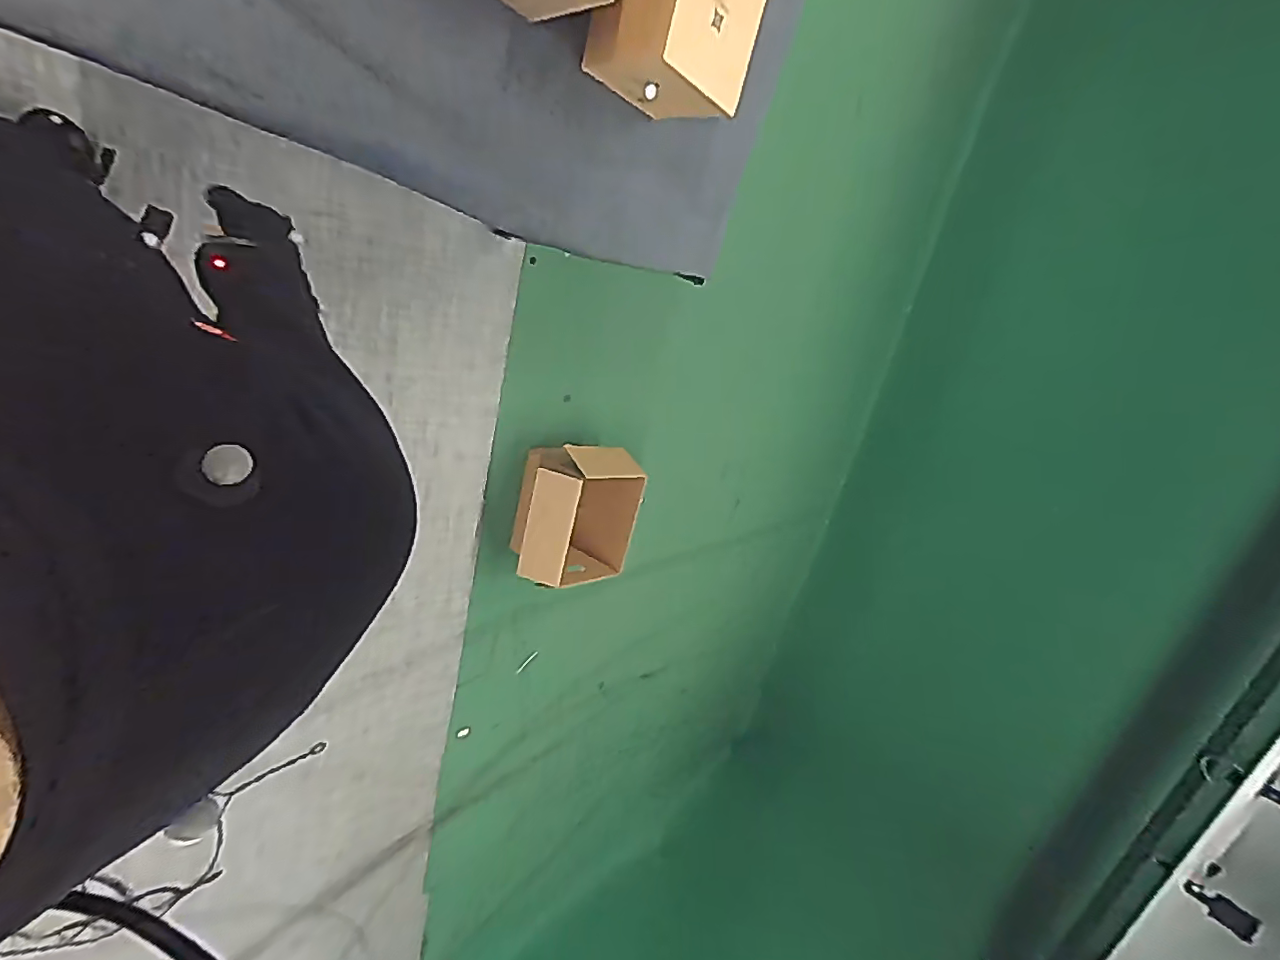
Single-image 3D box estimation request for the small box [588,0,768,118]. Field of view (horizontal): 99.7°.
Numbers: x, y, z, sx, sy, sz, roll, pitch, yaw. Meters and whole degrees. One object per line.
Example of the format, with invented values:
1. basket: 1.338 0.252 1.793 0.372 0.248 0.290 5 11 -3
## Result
1. small box: 0.049 -0.637 0.759 0.168 0.176 0.179 -3 115 -48
